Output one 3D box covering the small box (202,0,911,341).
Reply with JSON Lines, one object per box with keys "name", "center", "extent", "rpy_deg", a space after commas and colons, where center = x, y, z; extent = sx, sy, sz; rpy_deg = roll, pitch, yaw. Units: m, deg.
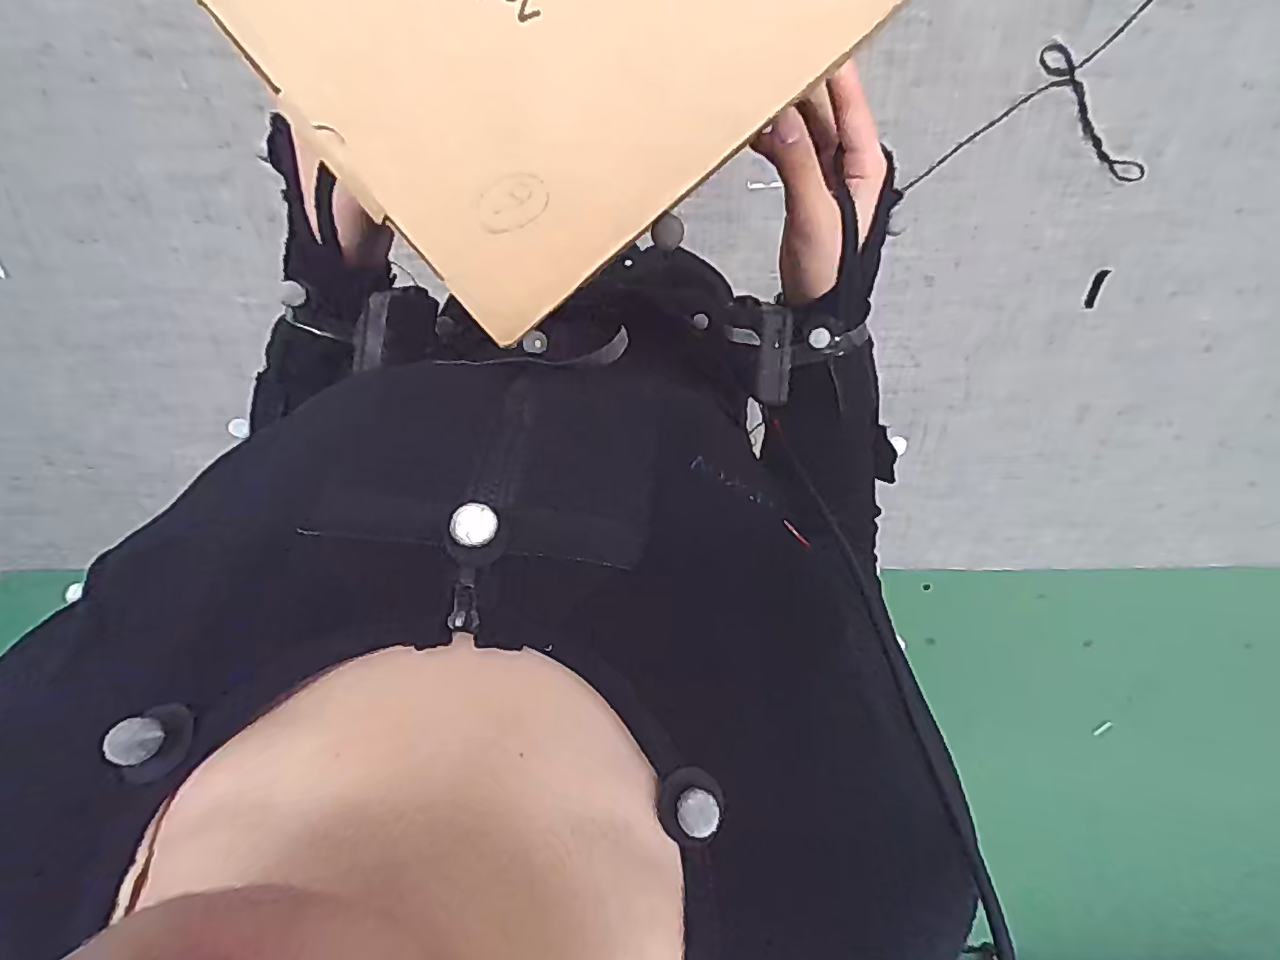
{"name": "small box", "center": [-0.028, -0.189, 0.226], "extent": [0.179, 0.176, 0.168], "rpy_deg": [-34, 109, 19]}
